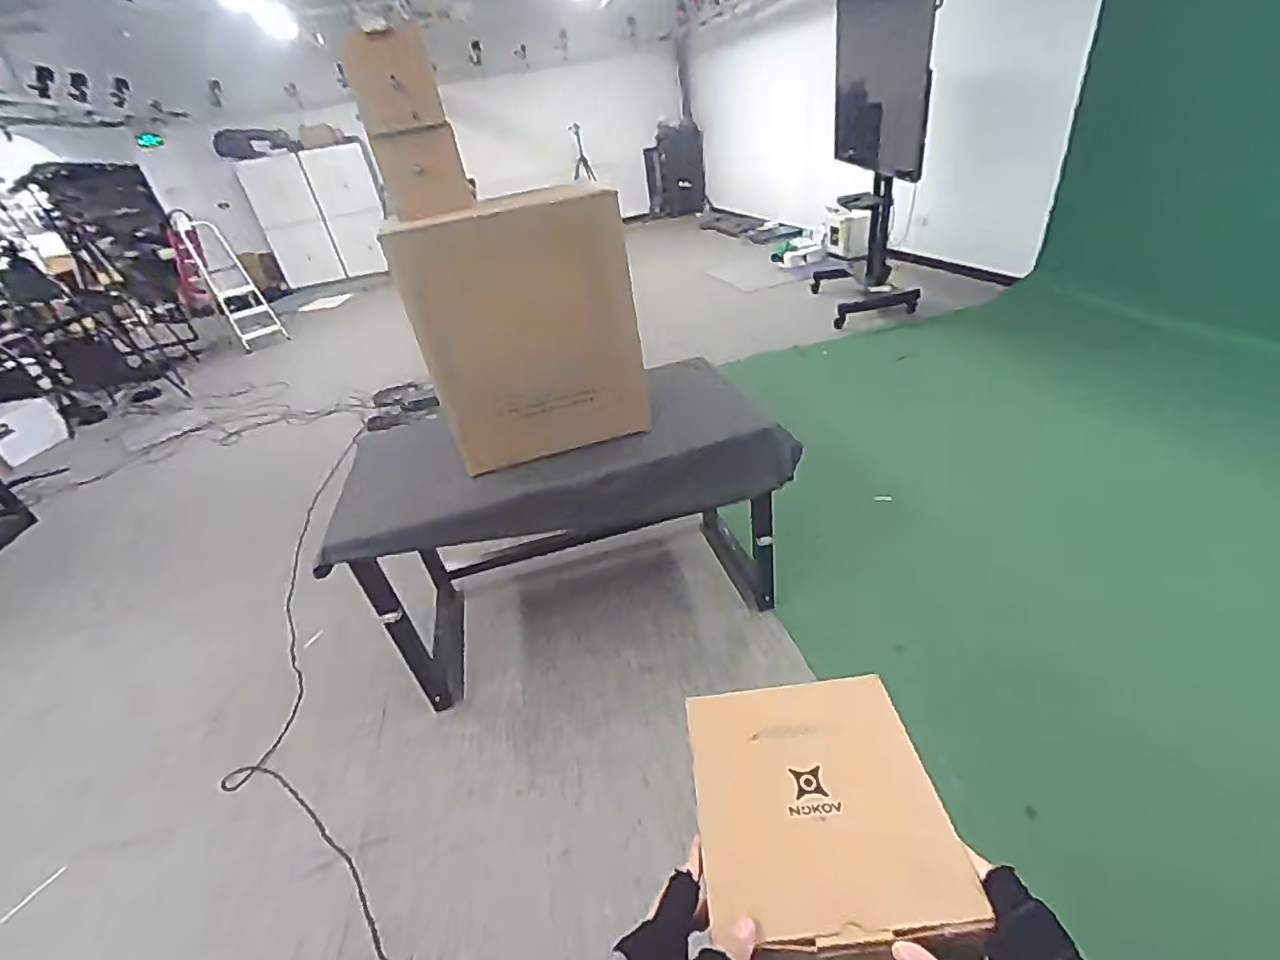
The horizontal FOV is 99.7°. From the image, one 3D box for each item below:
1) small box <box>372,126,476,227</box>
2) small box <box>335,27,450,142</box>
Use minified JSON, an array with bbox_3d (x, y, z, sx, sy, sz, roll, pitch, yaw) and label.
[{"bbox_3d":[-0.487,-0.699,1.243,0.179,0.176,0.168,-19,36,-9],"label":"small box"},{"bbox_3d":[-0.511,-0.825,1.141,0.168,0.176,0.179,-18,36,-10],"label":"small box"}]
